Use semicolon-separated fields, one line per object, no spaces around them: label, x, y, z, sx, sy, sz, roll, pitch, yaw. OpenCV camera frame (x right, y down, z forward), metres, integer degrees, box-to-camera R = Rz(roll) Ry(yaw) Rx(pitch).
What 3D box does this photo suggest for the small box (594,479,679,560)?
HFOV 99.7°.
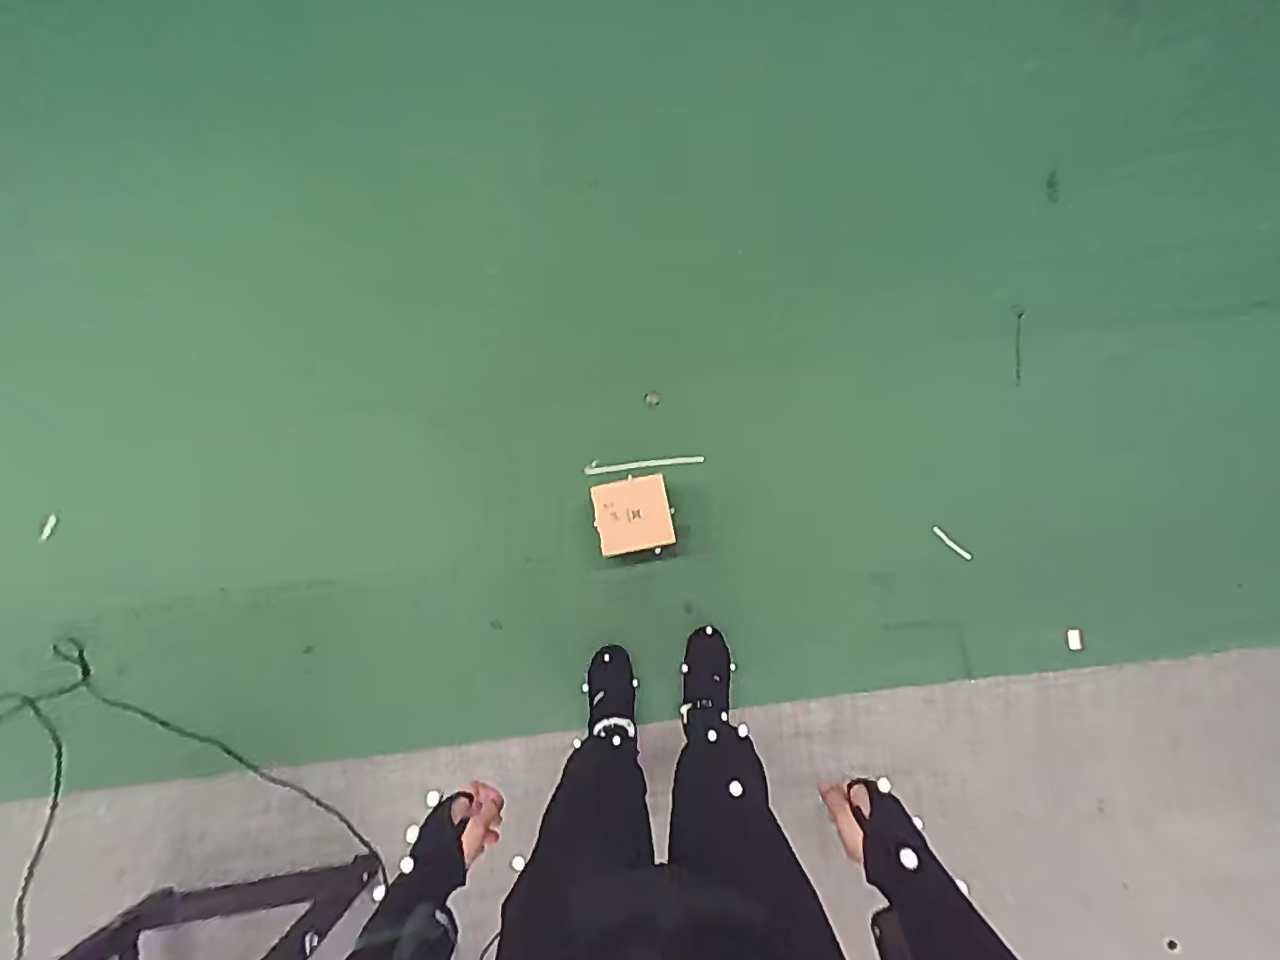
small box;-0.008;0.099;1.337;0.179;0.176;0.168;-11;83;0
